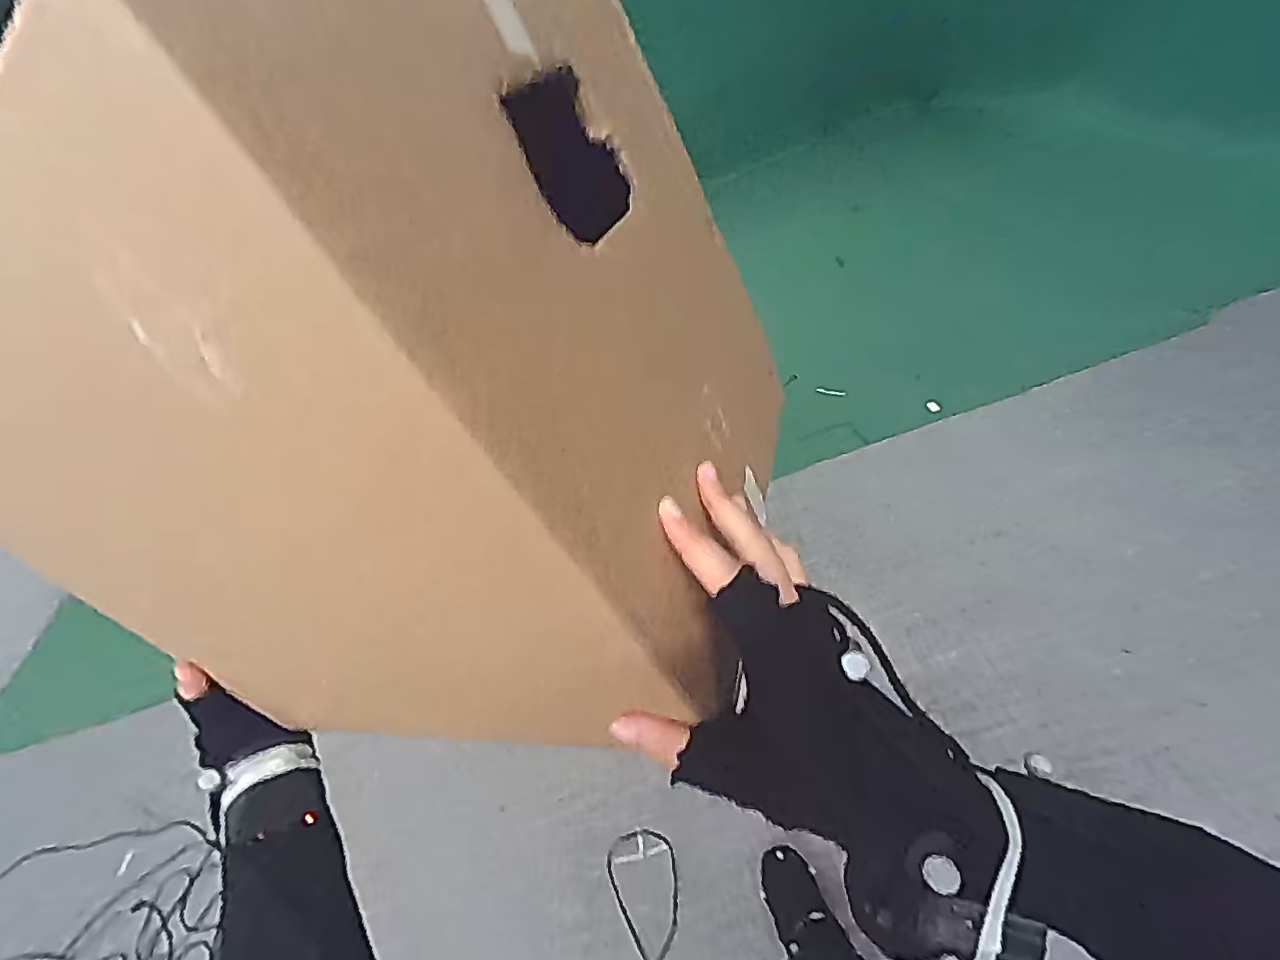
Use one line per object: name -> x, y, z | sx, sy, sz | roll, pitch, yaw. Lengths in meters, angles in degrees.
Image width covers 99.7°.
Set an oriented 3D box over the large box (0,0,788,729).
large box -> -0.145, -0.044, 0.390 | 0.408, 0.320, 0.320 | -13, 35, 30
